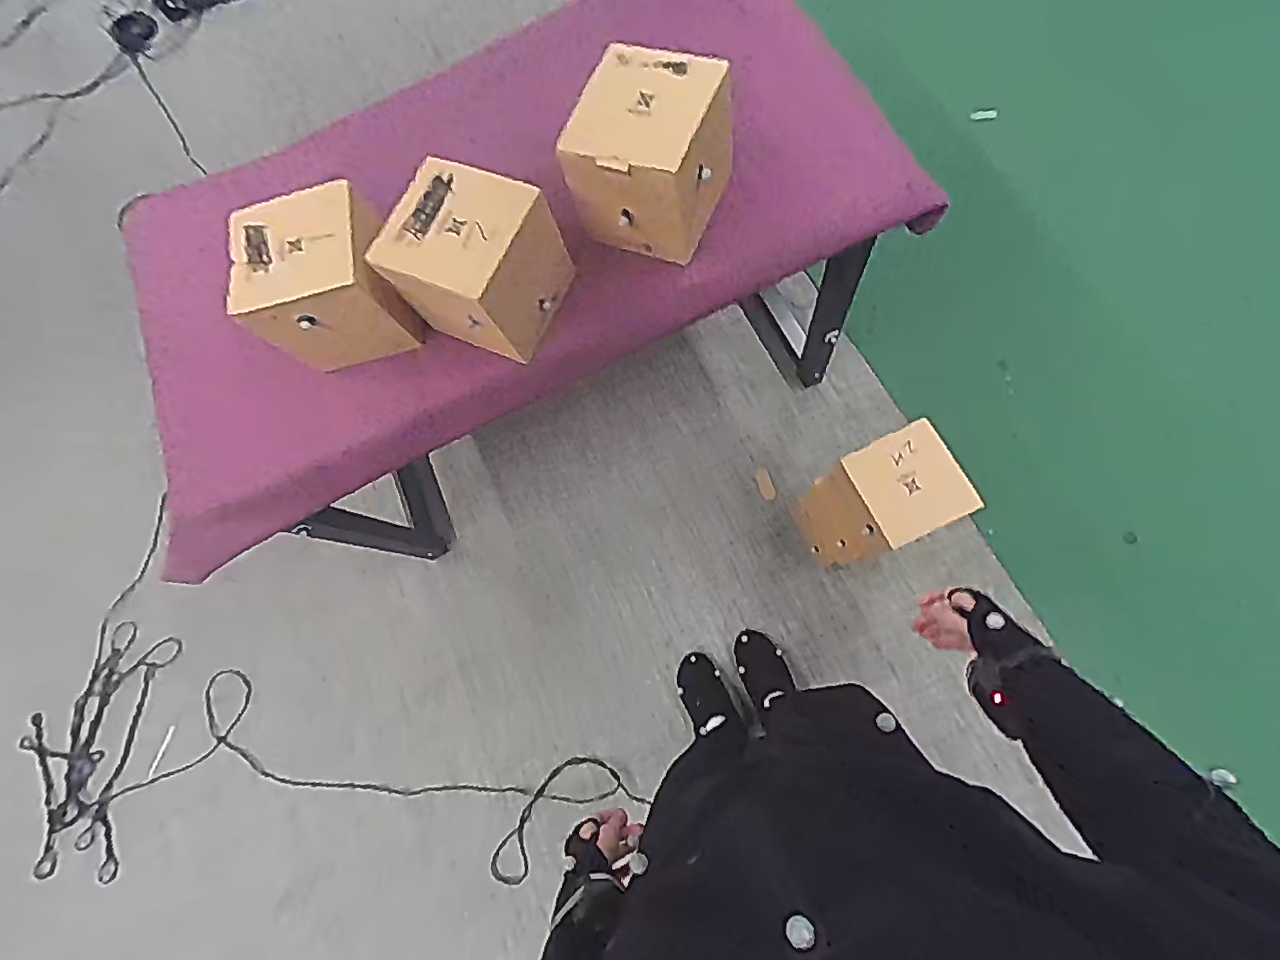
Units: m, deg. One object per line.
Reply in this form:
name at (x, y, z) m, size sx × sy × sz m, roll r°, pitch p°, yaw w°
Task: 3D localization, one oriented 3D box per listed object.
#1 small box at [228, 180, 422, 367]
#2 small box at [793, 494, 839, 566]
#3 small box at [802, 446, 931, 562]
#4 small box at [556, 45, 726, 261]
small box at (-0.440, -0.282, 0.775) m, size 0.179 × 0.176 × 0.168 m, roll -13°, pitch 75°, yaw 5°
small box at (0.480, 0.098, 1.294) m, size 0.179 × 0.176 × 0.168 m, roll -24°, pitch 74°, yaw 2°
small box at (0.462, 0.058, 1.138) m, size 0.168 × 0.176 × 0.179 m, roll -27°, pitch 75°, yaw 1°
small box at (0.015, -0.435, 0.741) m, size 0.168 × 0.176 × 0.179 m, roll 22°, pitch 81°, yaw 14°
